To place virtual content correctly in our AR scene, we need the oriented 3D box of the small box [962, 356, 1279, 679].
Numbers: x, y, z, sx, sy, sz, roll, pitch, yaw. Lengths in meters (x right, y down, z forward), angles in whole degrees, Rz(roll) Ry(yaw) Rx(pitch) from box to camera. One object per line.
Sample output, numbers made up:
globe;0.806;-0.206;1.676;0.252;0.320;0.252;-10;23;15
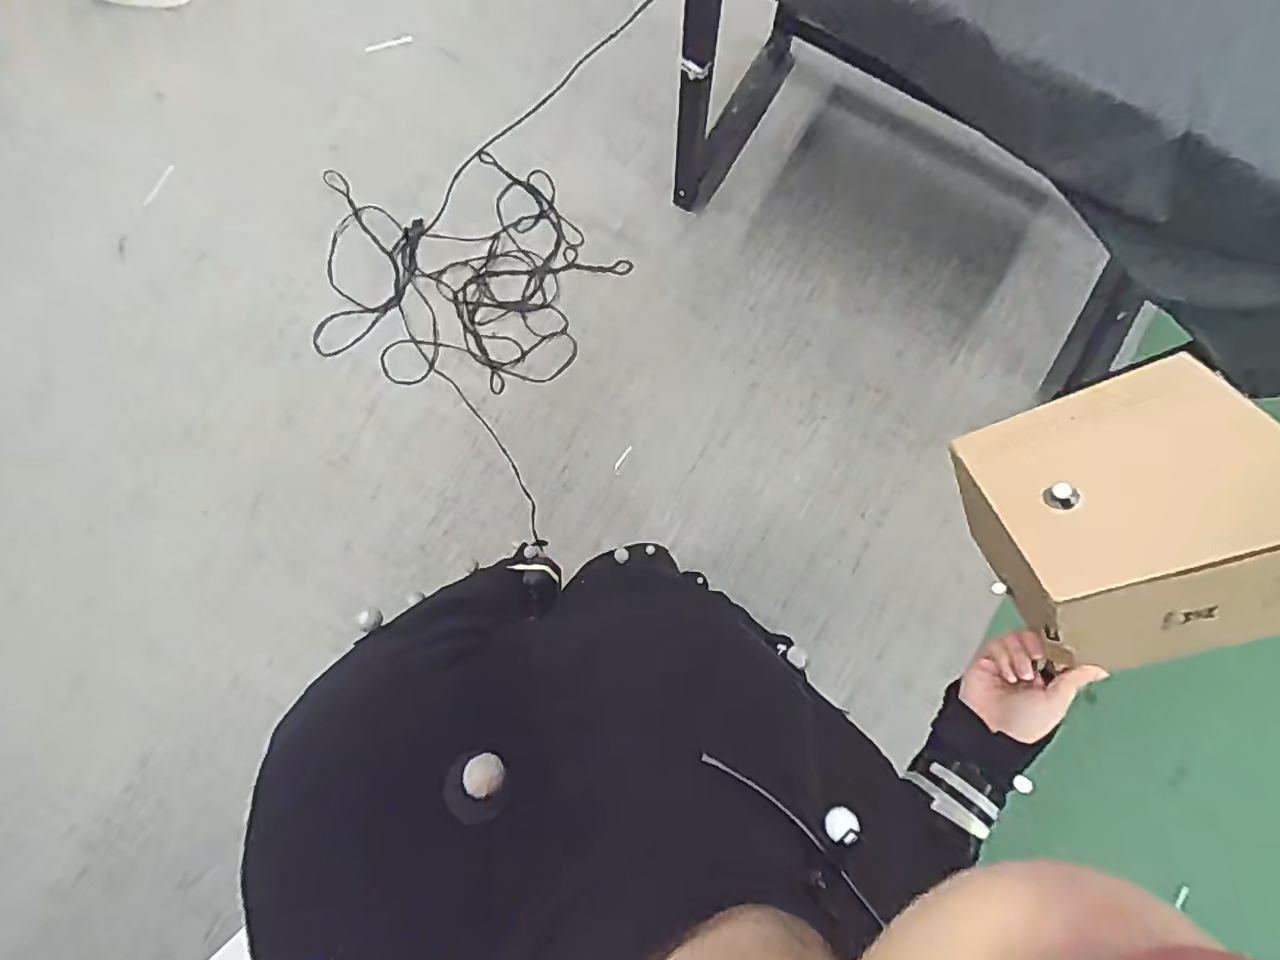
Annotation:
small box;0.391;0.034;0.443;0.179;0.168;0.176;-25;43;20
